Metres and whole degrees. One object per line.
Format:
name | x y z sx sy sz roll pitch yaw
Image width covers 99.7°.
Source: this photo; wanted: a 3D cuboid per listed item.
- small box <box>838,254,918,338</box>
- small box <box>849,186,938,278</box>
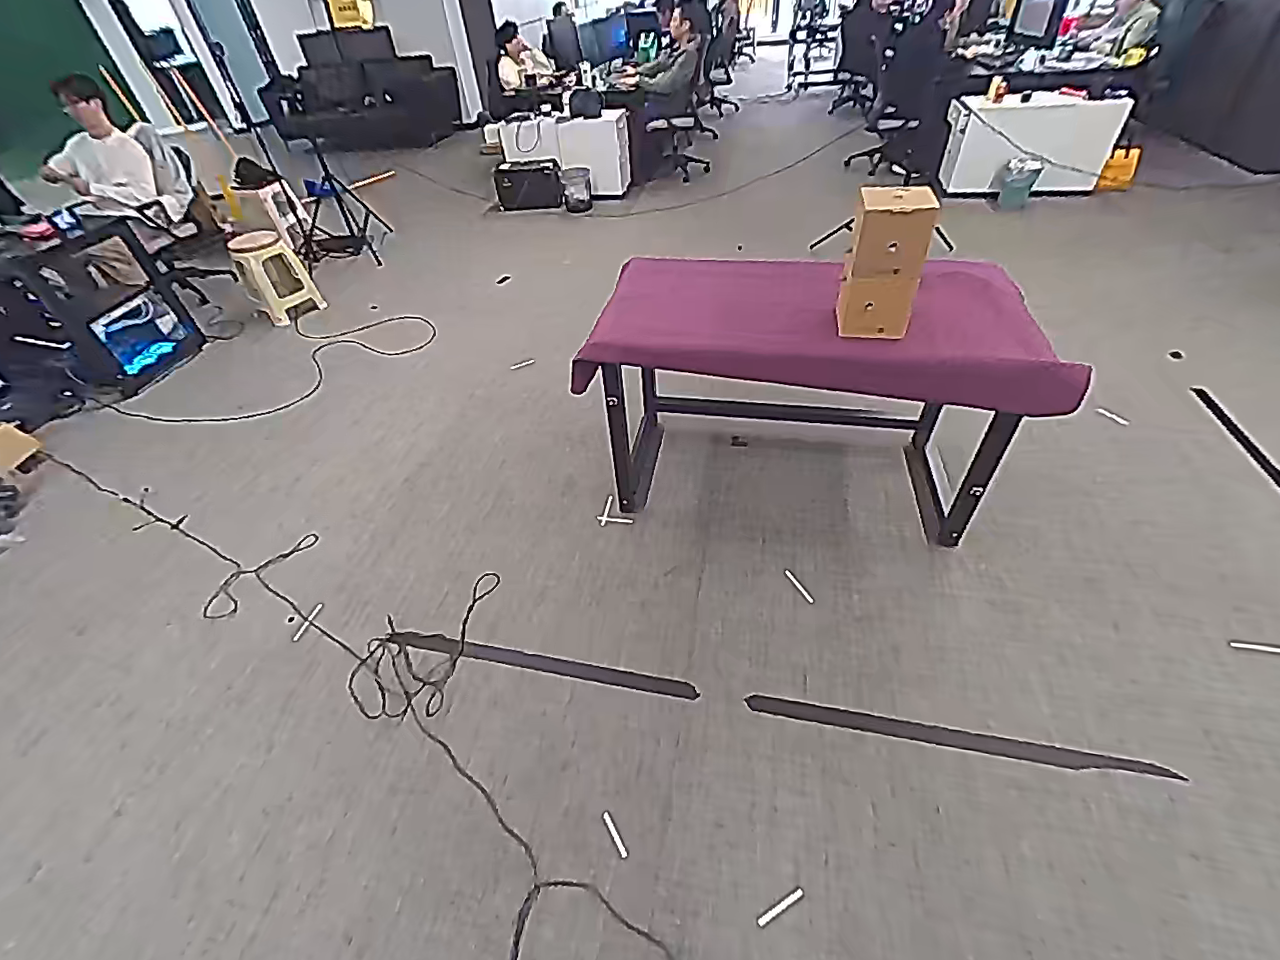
small box | 0.642 -0.503 1.477 0.168 0.176 0.179 5 44 11
small box | 0.632 -0.625 1.368 0.168 0.176 0.179 6 45 12
